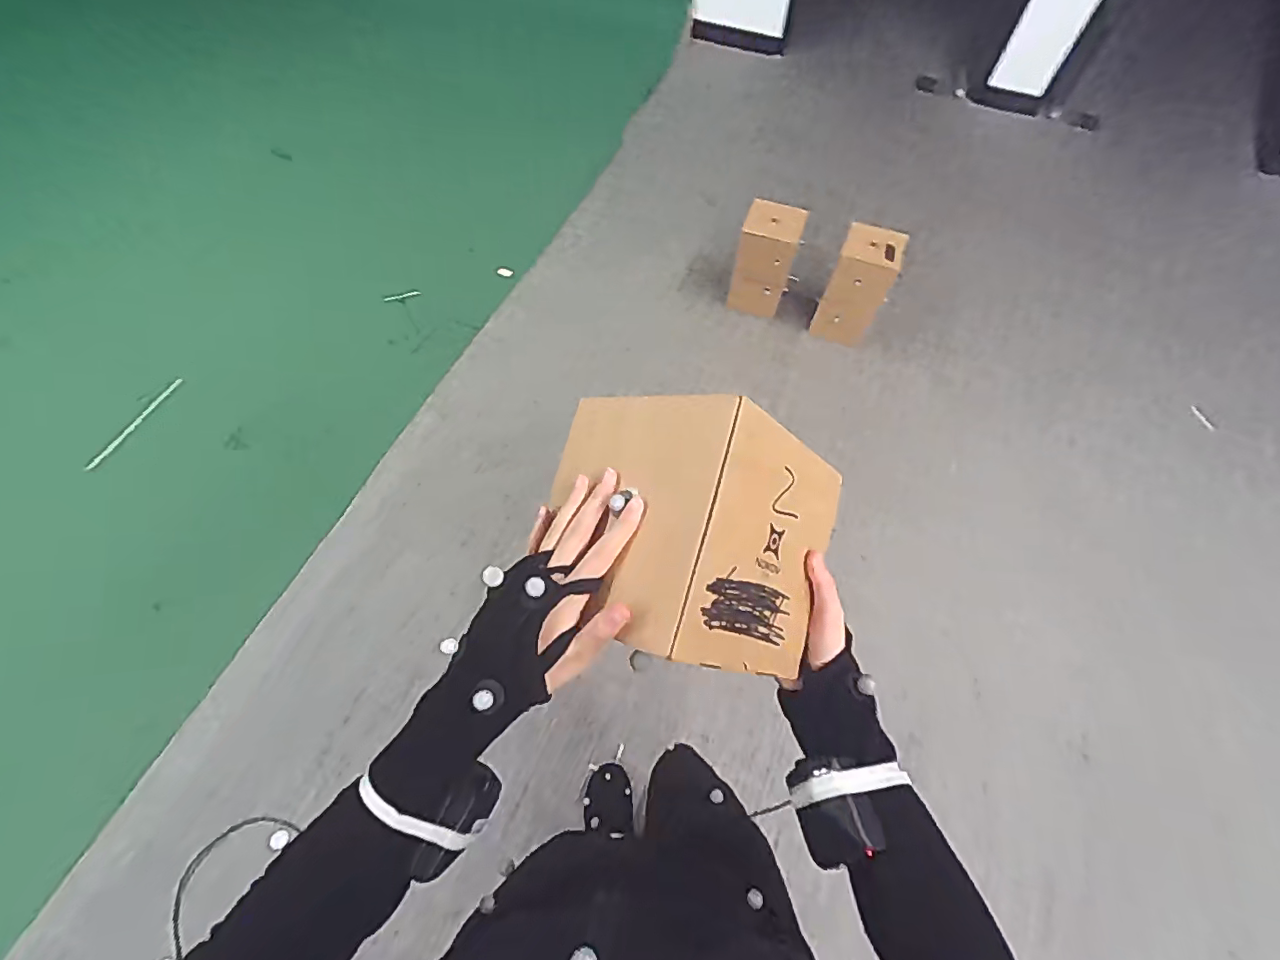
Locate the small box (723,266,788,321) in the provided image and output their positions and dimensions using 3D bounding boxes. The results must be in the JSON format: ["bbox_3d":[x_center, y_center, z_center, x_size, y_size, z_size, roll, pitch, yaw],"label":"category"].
[{"bbox_3d":[0.407,-0.689,1.902,0.179,0.176,0.168,18,64,9],"label":"small box"}]

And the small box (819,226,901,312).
[{"bbox_3d":[0.689,-0.660,1.704,0.179,0.176,0.168,19,64,10],"label":"small box"}]

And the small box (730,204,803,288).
[{"bbox_3d":[0.406,-0.753,1.752,0.179,0.176,0.168,18,64,10],"label":"small box"}]
